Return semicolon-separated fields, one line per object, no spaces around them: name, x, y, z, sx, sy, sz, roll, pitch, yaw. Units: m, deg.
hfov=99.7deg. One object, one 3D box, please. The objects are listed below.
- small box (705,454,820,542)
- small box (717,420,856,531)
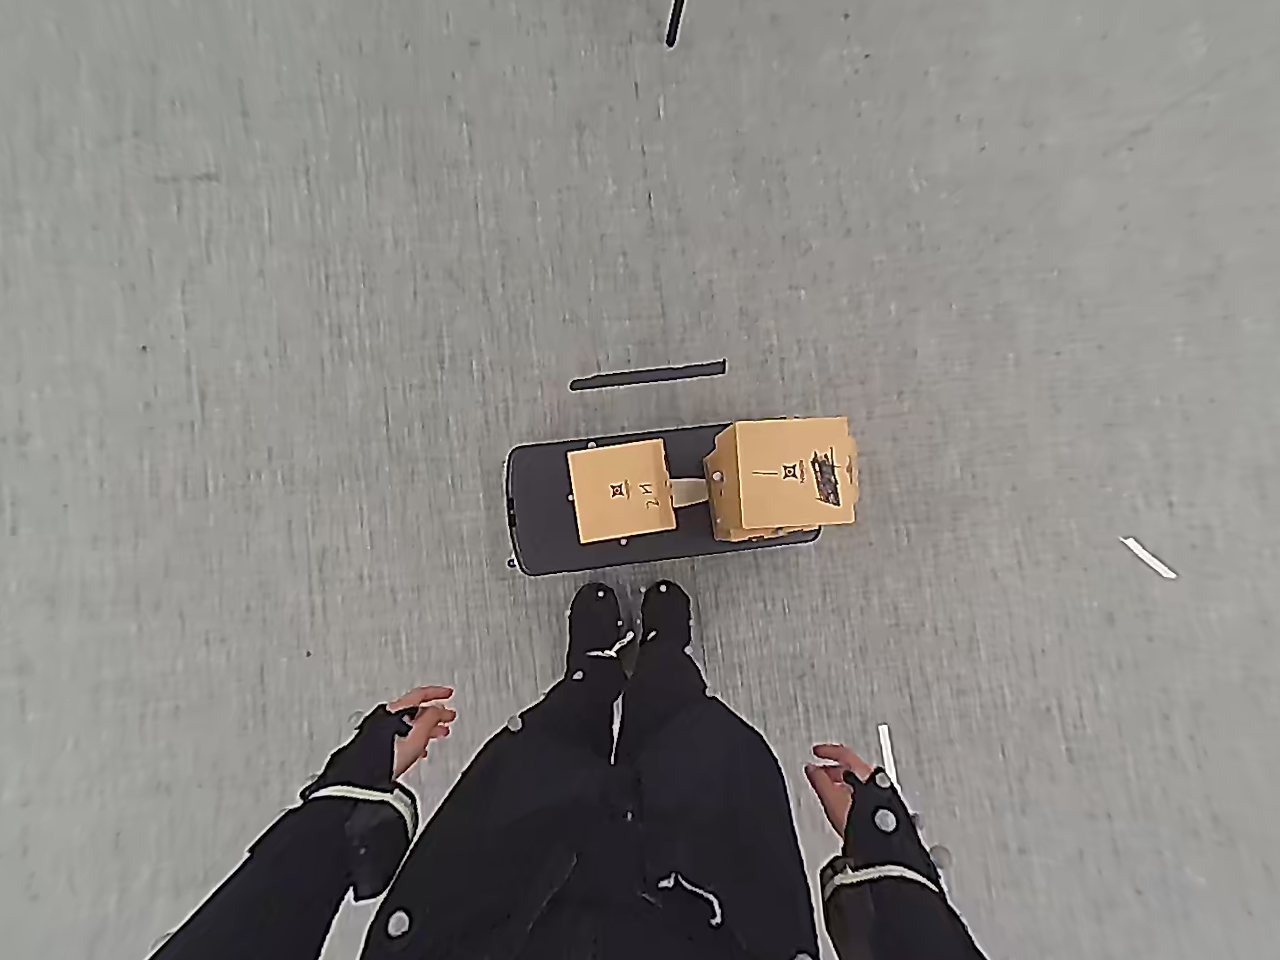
small box;0.230;0.023;1.059;0.168;0.176;0.179;-8;87;-4
small box;0.233;-0.004;0.896;0.179;0.176;0.168;-3;86;-2
